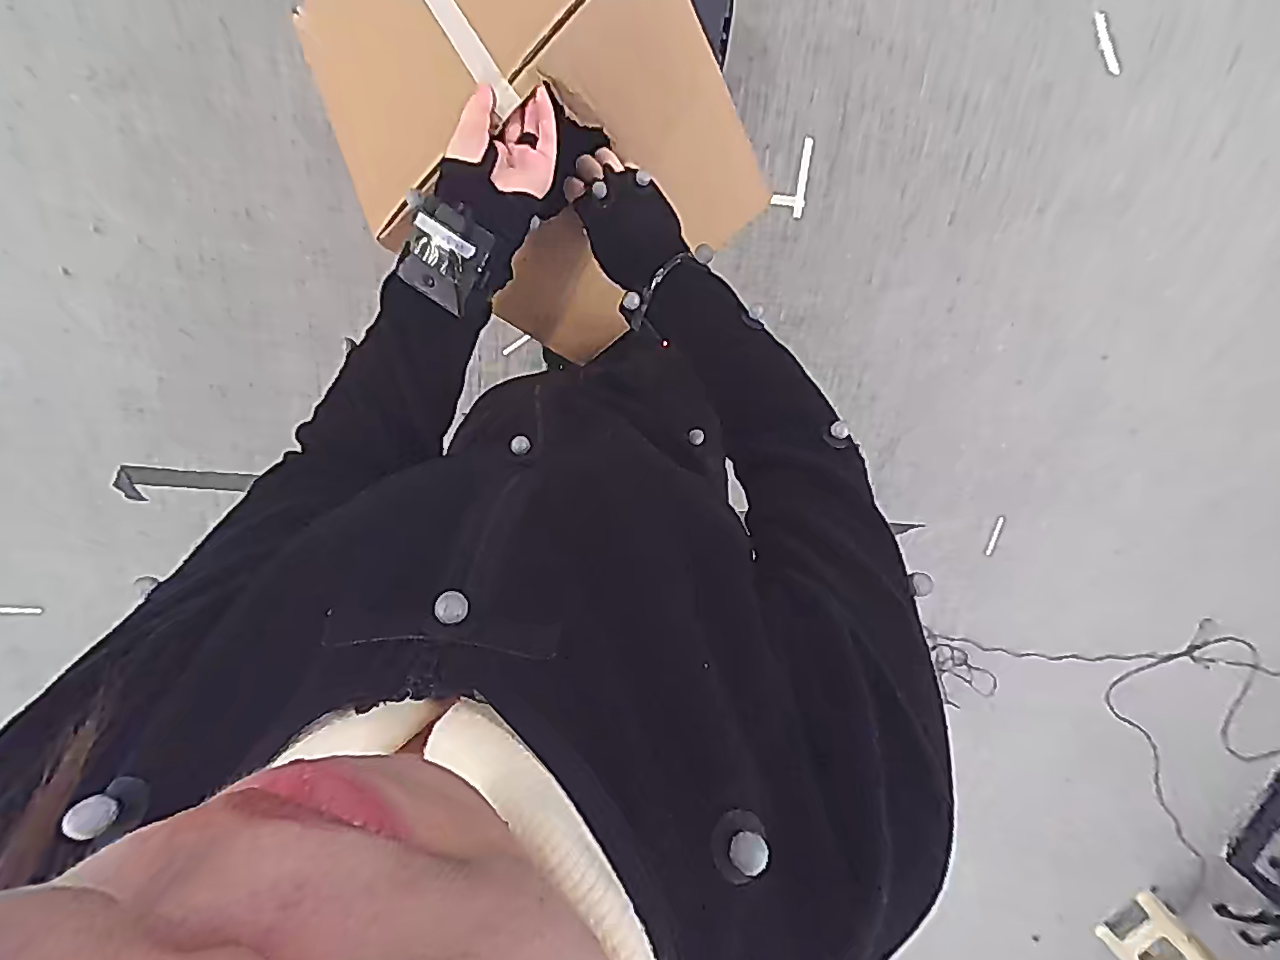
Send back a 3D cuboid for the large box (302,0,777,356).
[{"bbox_3d":[-0.112,-0.423,0.615,0.320,0.408,0.320,-37,154,18],"label":"large box"}]
